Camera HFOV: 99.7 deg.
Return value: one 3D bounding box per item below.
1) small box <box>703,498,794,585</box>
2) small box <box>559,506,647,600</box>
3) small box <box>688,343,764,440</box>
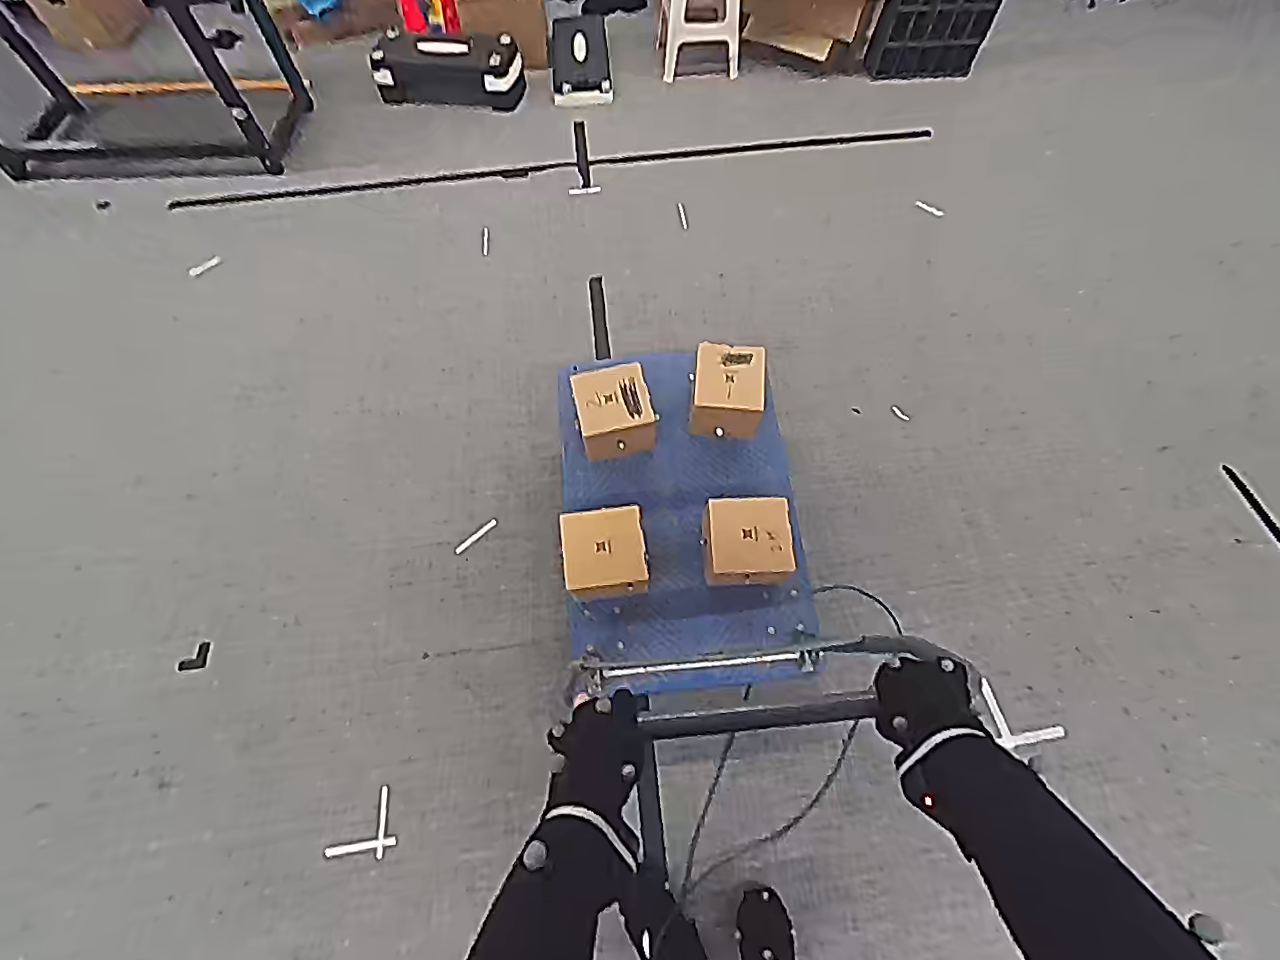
[{"bbox_3d":[0.236,0.145,1.230,0.179,0.176,0.168,-1,70,0],"label":"small box"},{"bbox_3d":[-0.081,0.171,1.221,0.179,0.176,0.168,-7,70,-4],"label":"small box"},{"bbox_3d":[0.213,-0.221,1.366,0.168,0.176,0.179,5,71,2],"label":"small box"}]
